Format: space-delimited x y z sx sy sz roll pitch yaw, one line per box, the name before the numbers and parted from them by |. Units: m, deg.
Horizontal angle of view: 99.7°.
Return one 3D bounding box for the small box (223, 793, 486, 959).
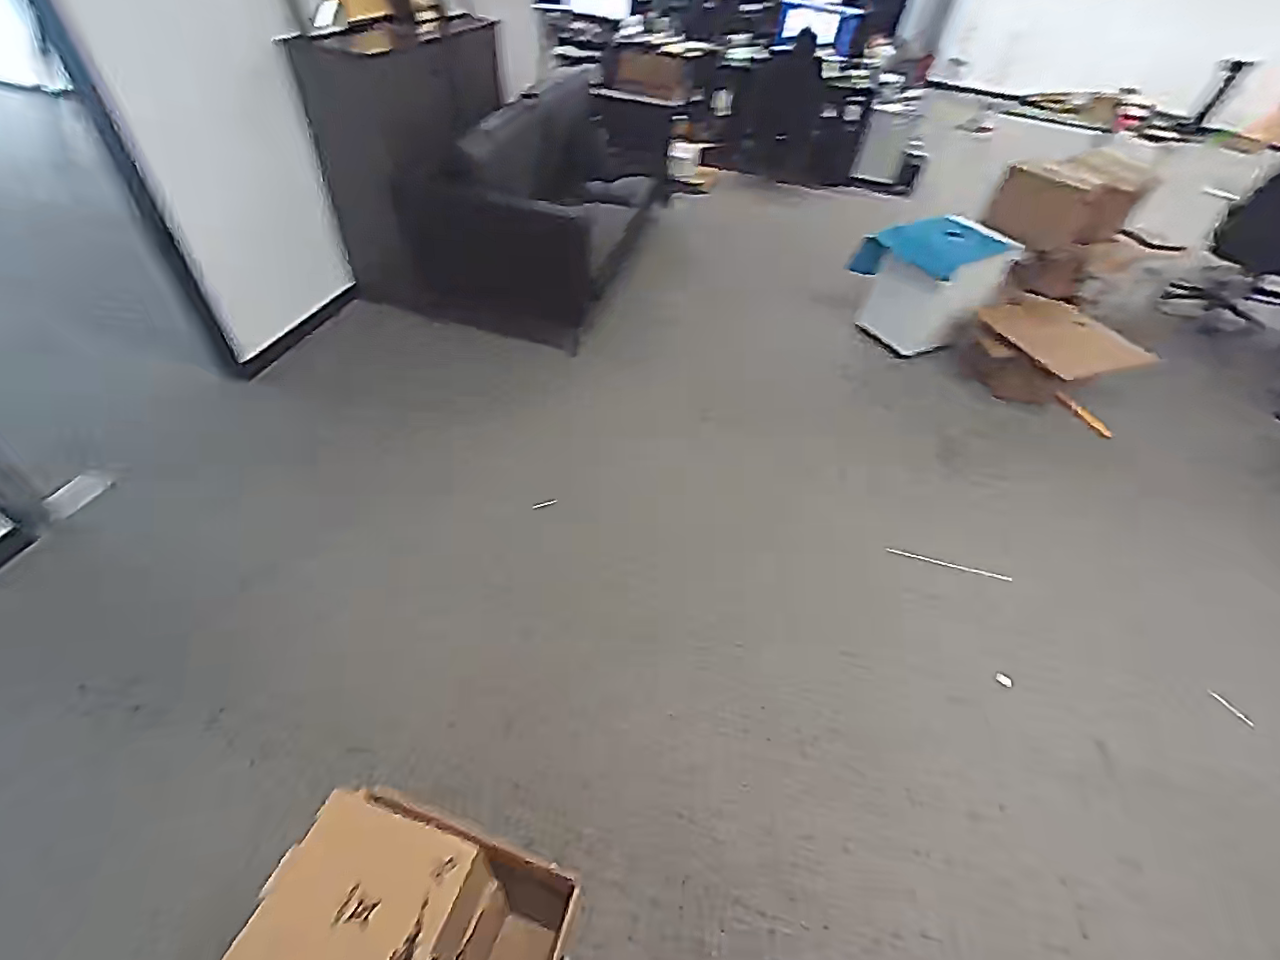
small box | -0.287 0.476 0.582 0.179 0.176 0.168 16 46 8
